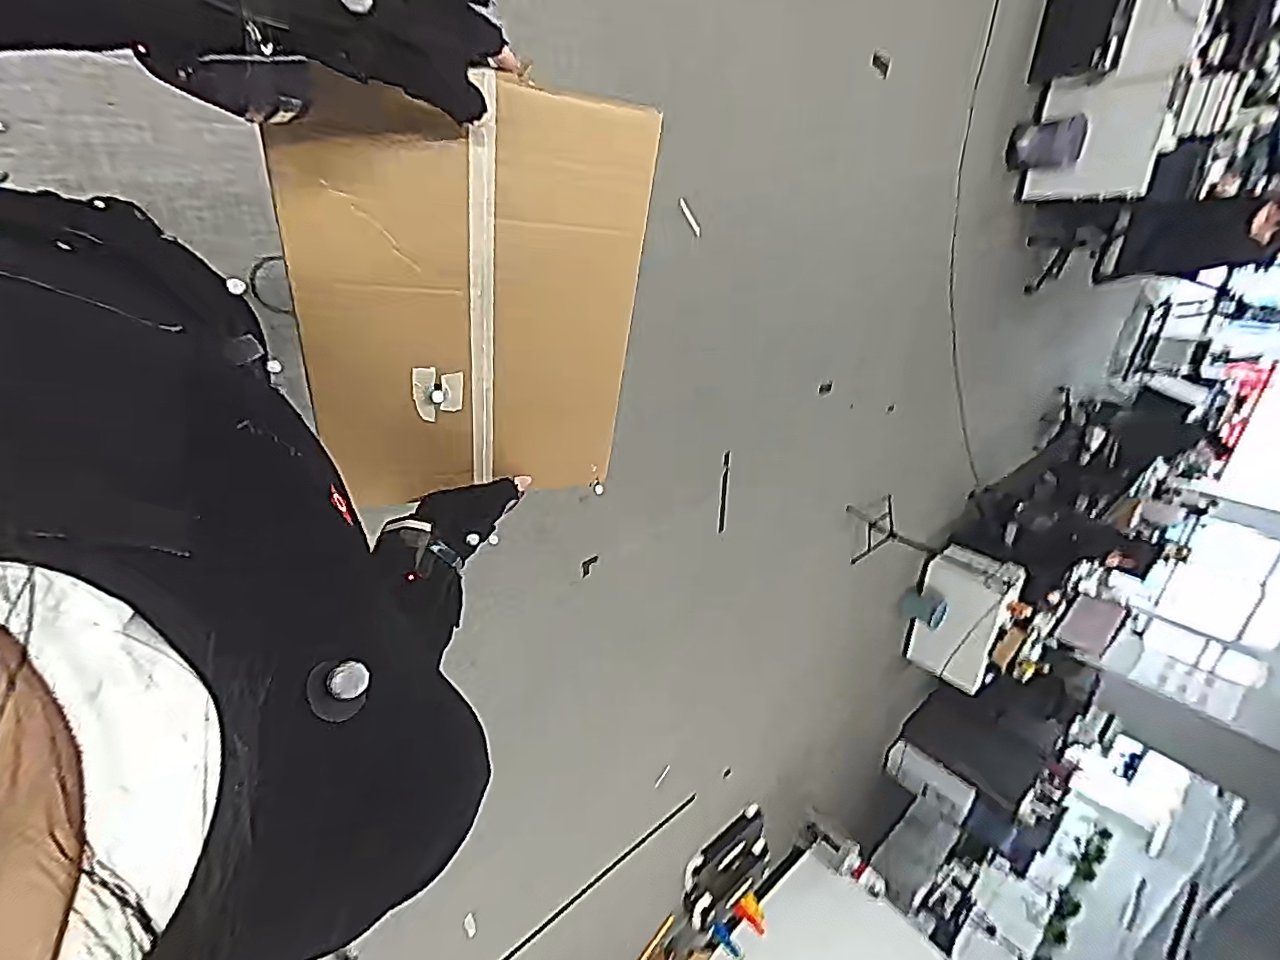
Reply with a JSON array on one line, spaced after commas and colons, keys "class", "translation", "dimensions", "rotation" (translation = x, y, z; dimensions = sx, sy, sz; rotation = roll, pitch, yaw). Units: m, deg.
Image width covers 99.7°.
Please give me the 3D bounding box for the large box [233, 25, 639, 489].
[{"class": "large box", "translation": [-0.221, -0.255, 0.641], "dimensions": [0.320, 0.320, 0.408], "rotation": [-7, 128, -23]}]
